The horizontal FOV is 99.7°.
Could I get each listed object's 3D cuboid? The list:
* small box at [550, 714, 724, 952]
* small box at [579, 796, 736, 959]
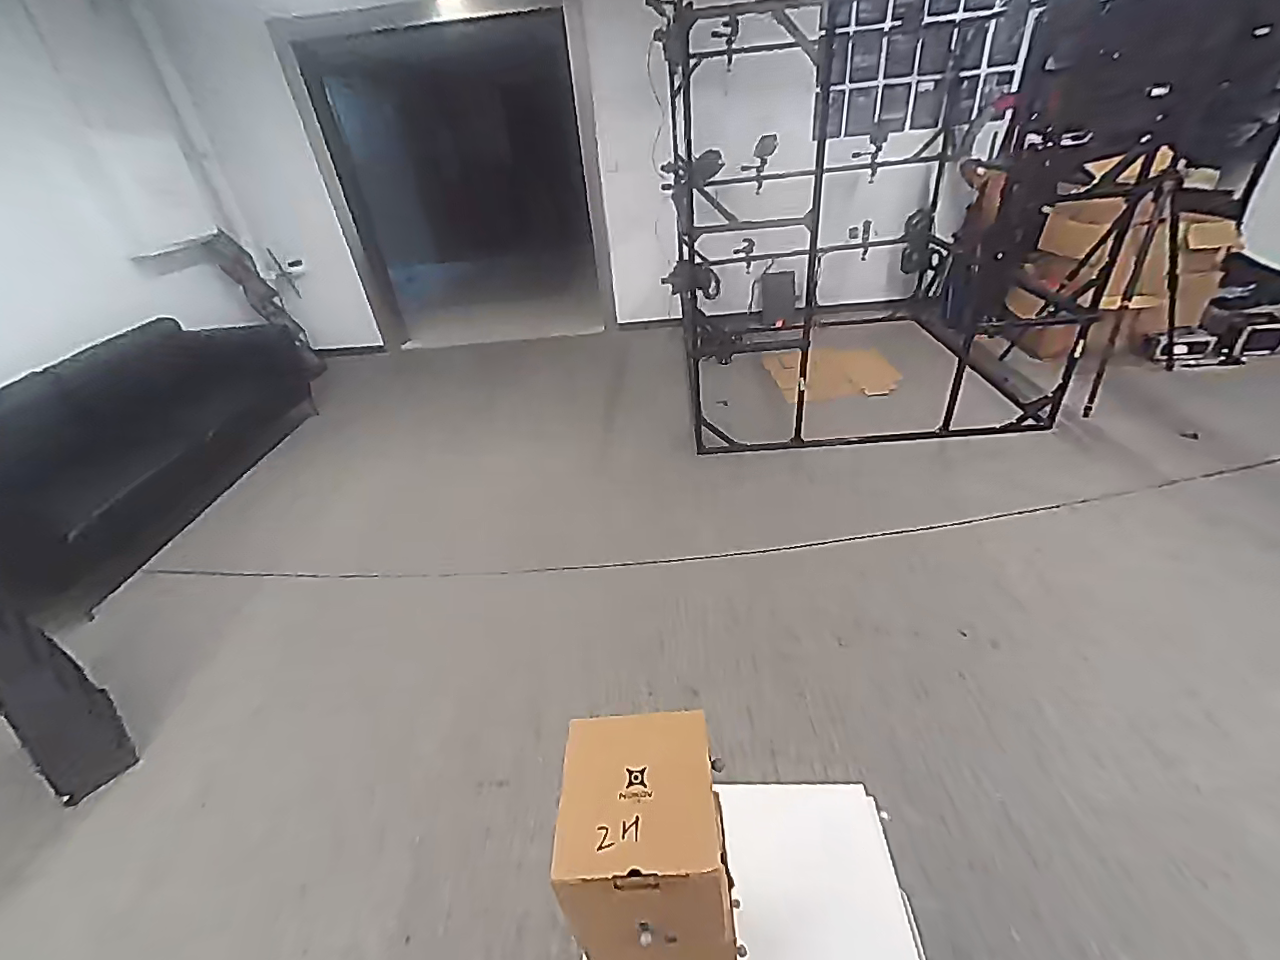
[{"bbox_3d":[0.004,0.400,0.622,0.168,0.176,0.179,-6,32,4],"label":"small box"},{"bbox_3d":[0.027,0.541,0.705,0.179,0.176,0.168,-6,32,4],"label":"small box"}]
